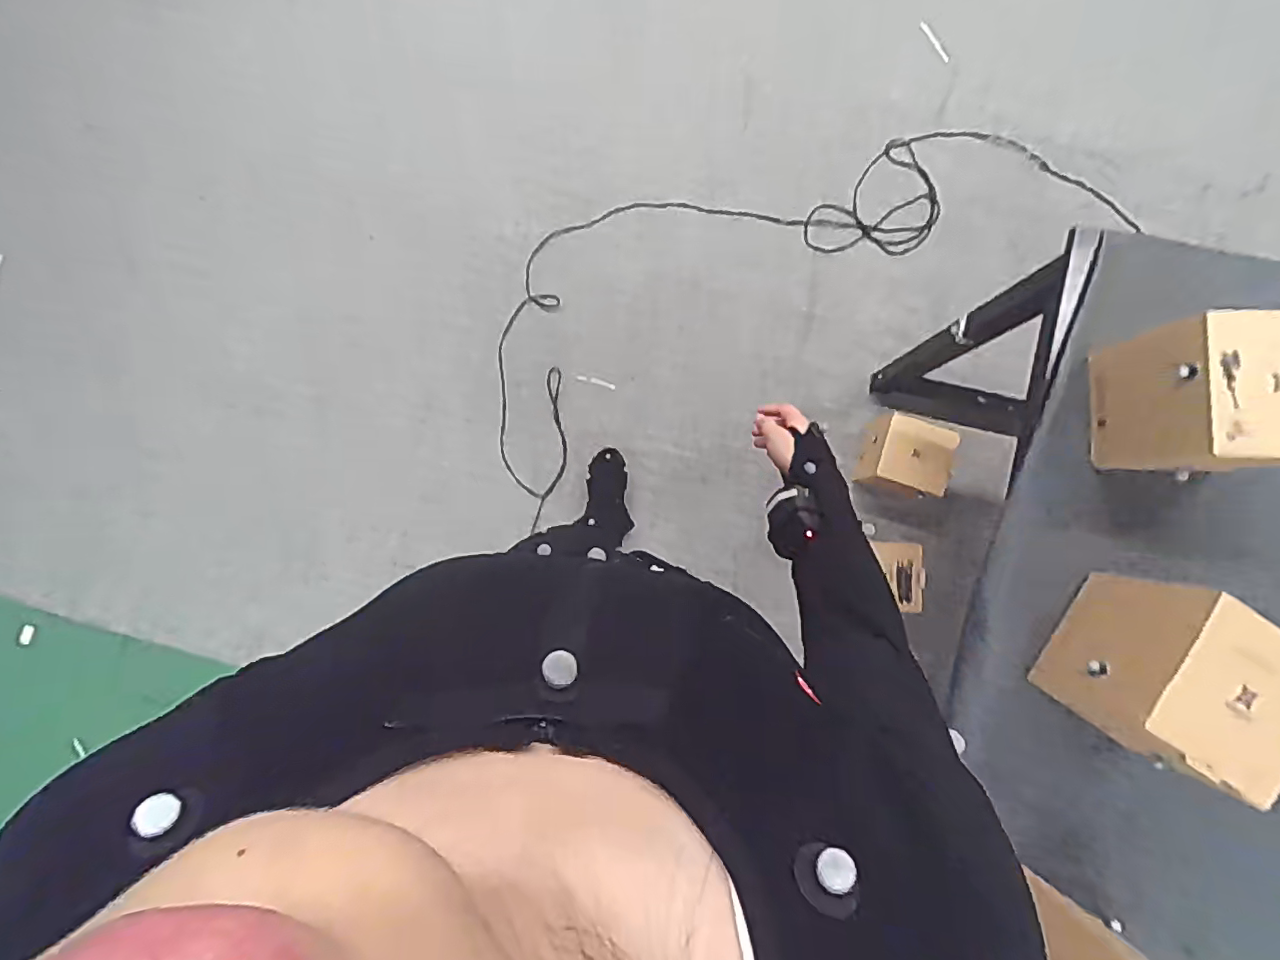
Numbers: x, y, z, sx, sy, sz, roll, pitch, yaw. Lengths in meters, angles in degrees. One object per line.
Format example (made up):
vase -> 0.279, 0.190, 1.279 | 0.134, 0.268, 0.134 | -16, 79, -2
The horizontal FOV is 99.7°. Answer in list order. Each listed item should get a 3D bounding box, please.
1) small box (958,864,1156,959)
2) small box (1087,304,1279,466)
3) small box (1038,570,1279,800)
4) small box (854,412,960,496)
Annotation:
small box -> 0.516, 0.605, 0.626 | 0.168, 0.176, 0.179 | 35, 86, 1
small box -> 0.717, -0.109, 0.680 | 0.179, 0.176, 0.168 | 1, 86, 1
small box -> 0.641, 0.230, 0.657 | 0.168, 0.176, 0.179 | 34, 85, 0
small box -> 0.686, -0.059, 1.410 | 0.179, 0.176, 0.168 | 18, 86, 1
